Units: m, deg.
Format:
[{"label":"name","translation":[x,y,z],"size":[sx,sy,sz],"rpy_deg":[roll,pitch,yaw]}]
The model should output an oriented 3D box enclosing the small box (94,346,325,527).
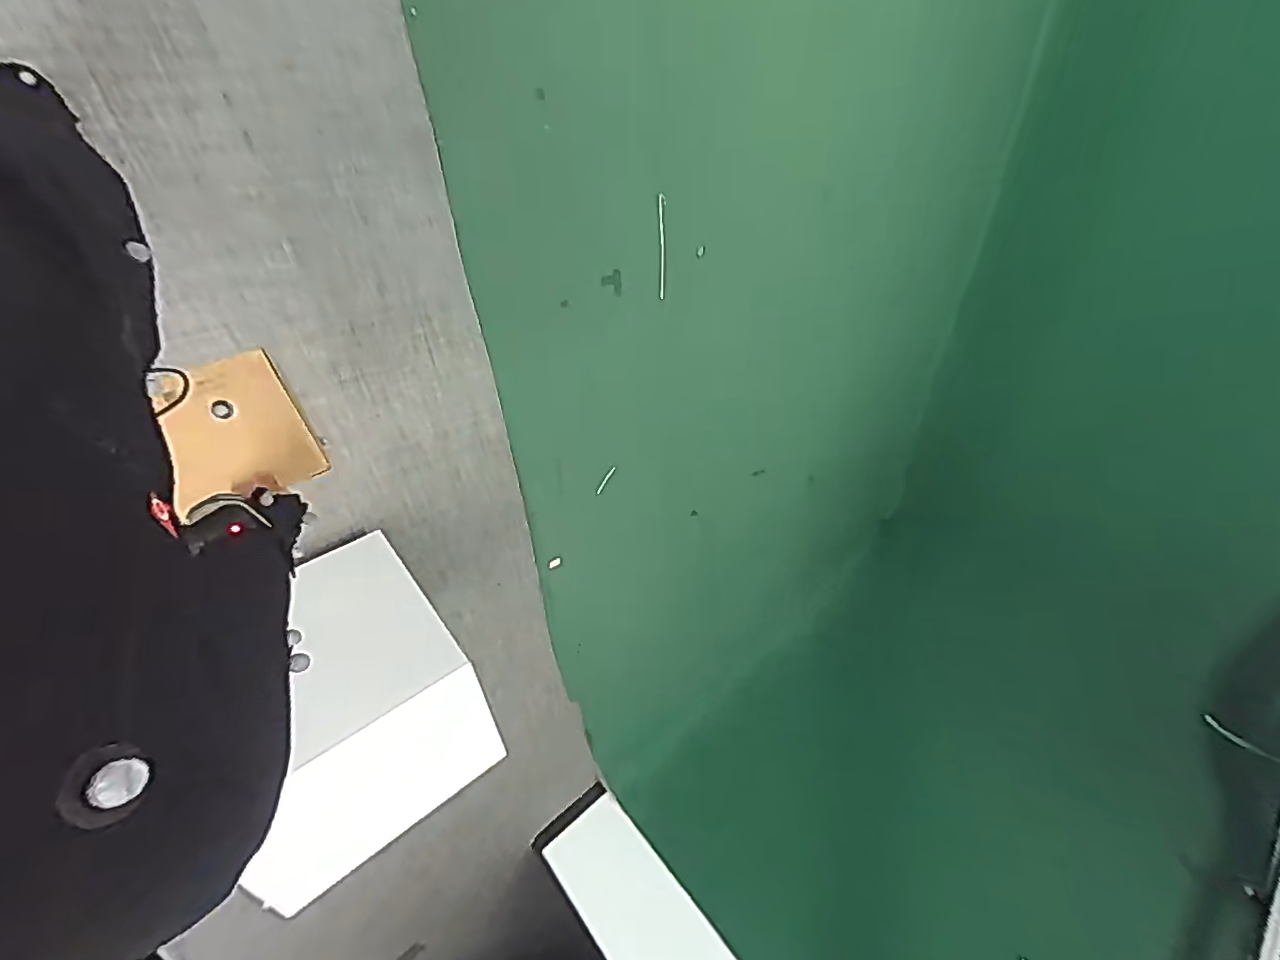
[{"label":"small box","translation":[-0.538,-0.069,0.700],"size":[0.168,0.179,0.176],"rpy_deg":[-28,117,-23]}]
